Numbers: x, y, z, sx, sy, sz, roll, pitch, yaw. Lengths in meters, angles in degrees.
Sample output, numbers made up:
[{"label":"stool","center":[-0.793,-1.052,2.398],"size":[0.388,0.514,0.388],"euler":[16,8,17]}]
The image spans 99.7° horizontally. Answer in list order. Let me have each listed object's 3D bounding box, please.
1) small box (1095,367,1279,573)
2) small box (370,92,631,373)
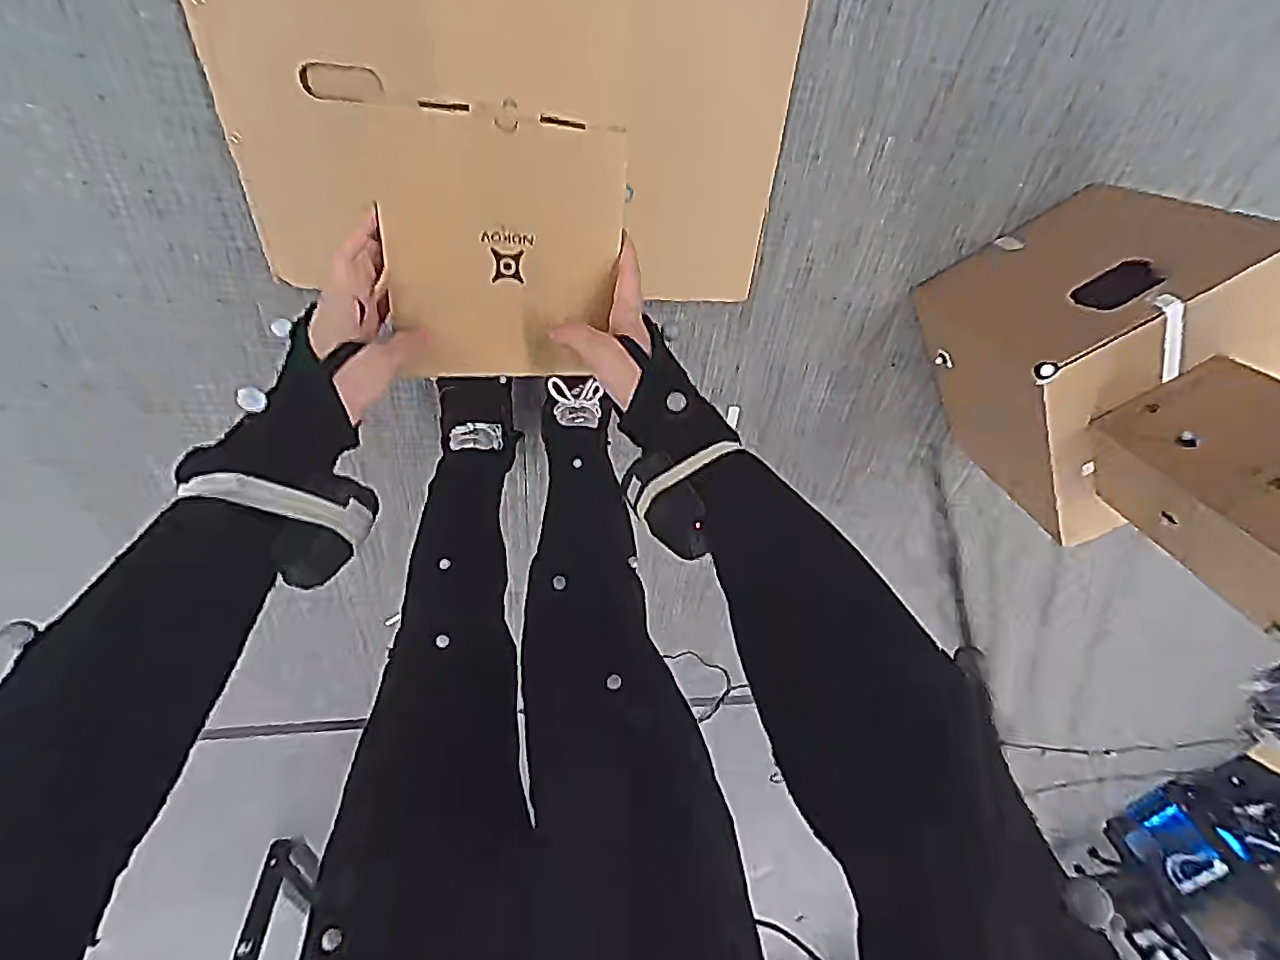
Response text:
[{"label":"small box","center":[0.730,-0.021,0.691],"size":[0.168,0.176,0.179],"euler":[-32,127,16]},{"label":"small box","center":[-0.115,-0.201,0.452],"size":[0.168,0.176,0.179],"euler":[-4,121,-18]}]
